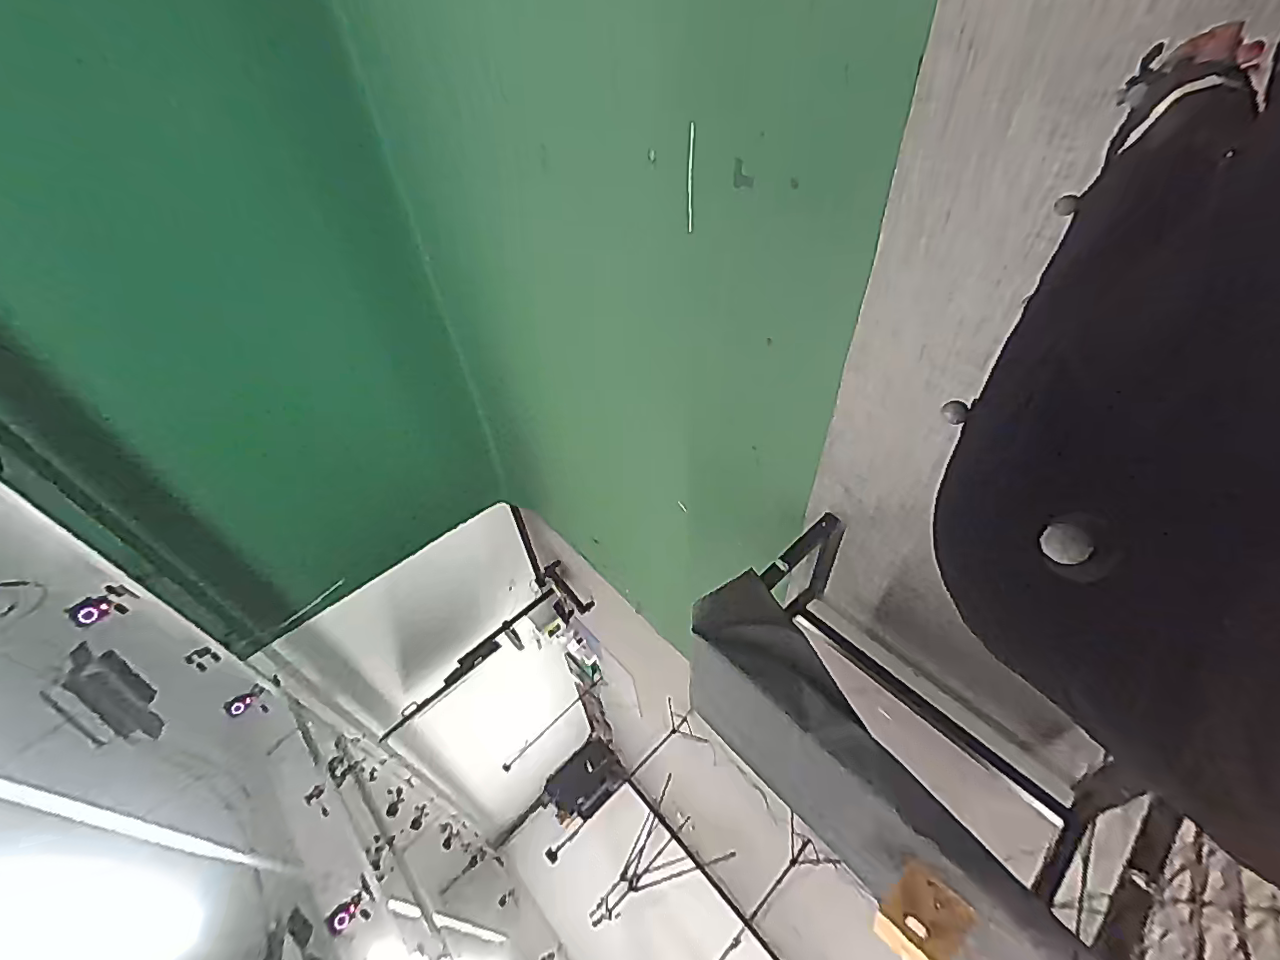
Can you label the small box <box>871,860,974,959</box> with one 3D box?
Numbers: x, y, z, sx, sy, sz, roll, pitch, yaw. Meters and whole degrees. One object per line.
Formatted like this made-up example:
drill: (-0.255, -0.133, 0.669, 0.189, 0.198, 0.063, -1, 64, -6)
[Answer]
small box: (0.711, 1.116, 1.366, 0.168, 0.176, 0.179, 30, 144, 42)
